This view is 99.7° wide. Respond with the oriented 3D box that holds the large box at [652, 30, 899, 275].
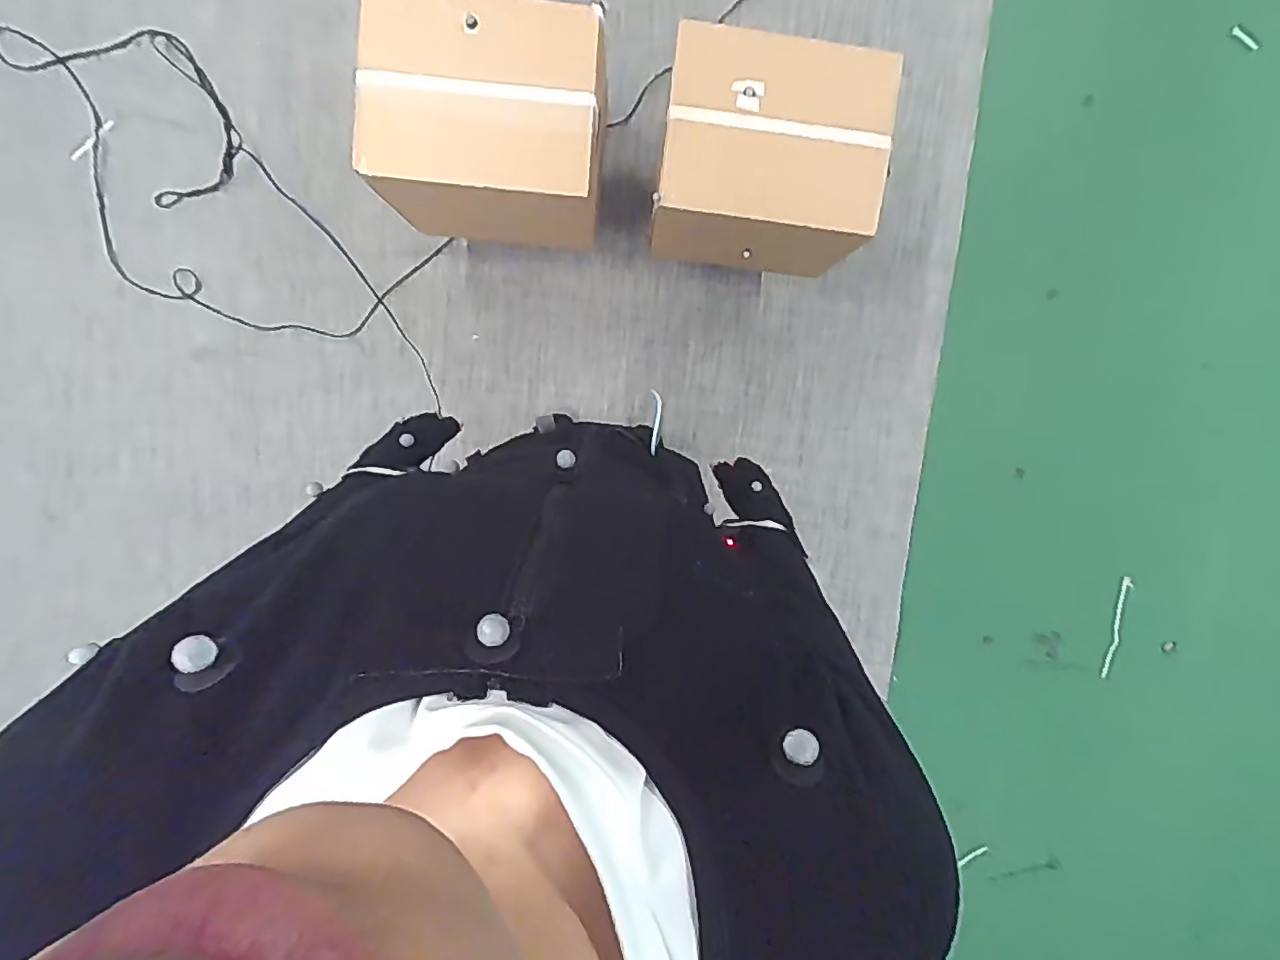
[{"bbox_3d":[0.248,-0.639,1.122,0.408,0.320,0.320,7,96,-3],"label":"large box"}]
